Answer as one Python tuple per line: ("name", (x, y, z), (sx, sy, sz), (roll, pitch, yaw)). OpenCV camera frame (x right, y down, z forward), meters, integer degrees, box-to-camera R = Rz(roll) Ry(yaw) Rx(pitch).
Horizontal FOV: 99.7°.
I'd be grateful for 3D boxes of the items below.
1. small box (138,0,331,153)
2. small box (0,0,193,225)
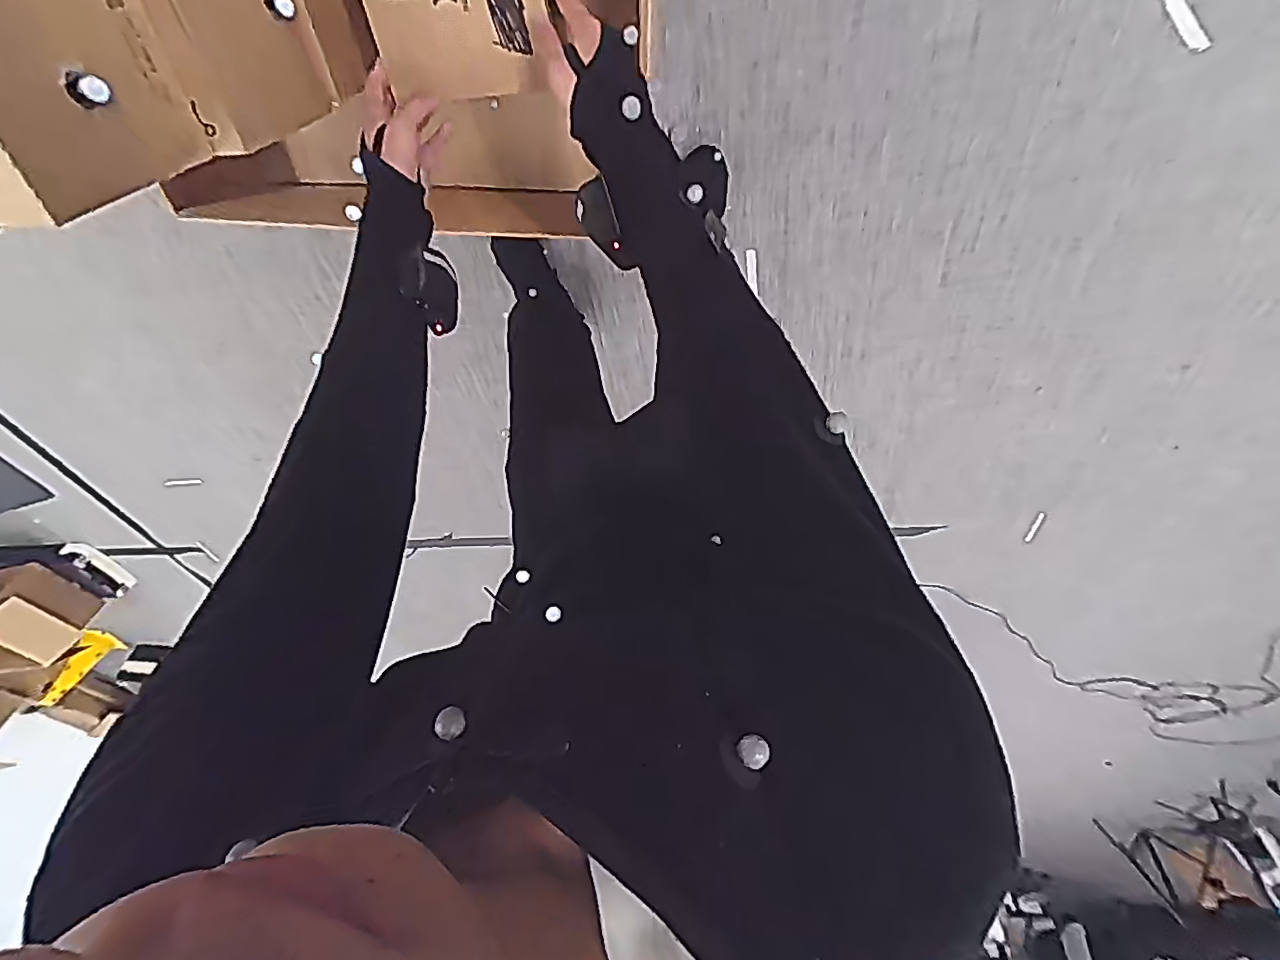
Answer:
("small box", (-0.405, -0.392, 0.454), (0.168, 0.176, 0.179), (0, 134, 4))
("small box", (-0.439, -0.278, 0.340), (0.179, 0.176, 0.168), (3, 135, 2))
